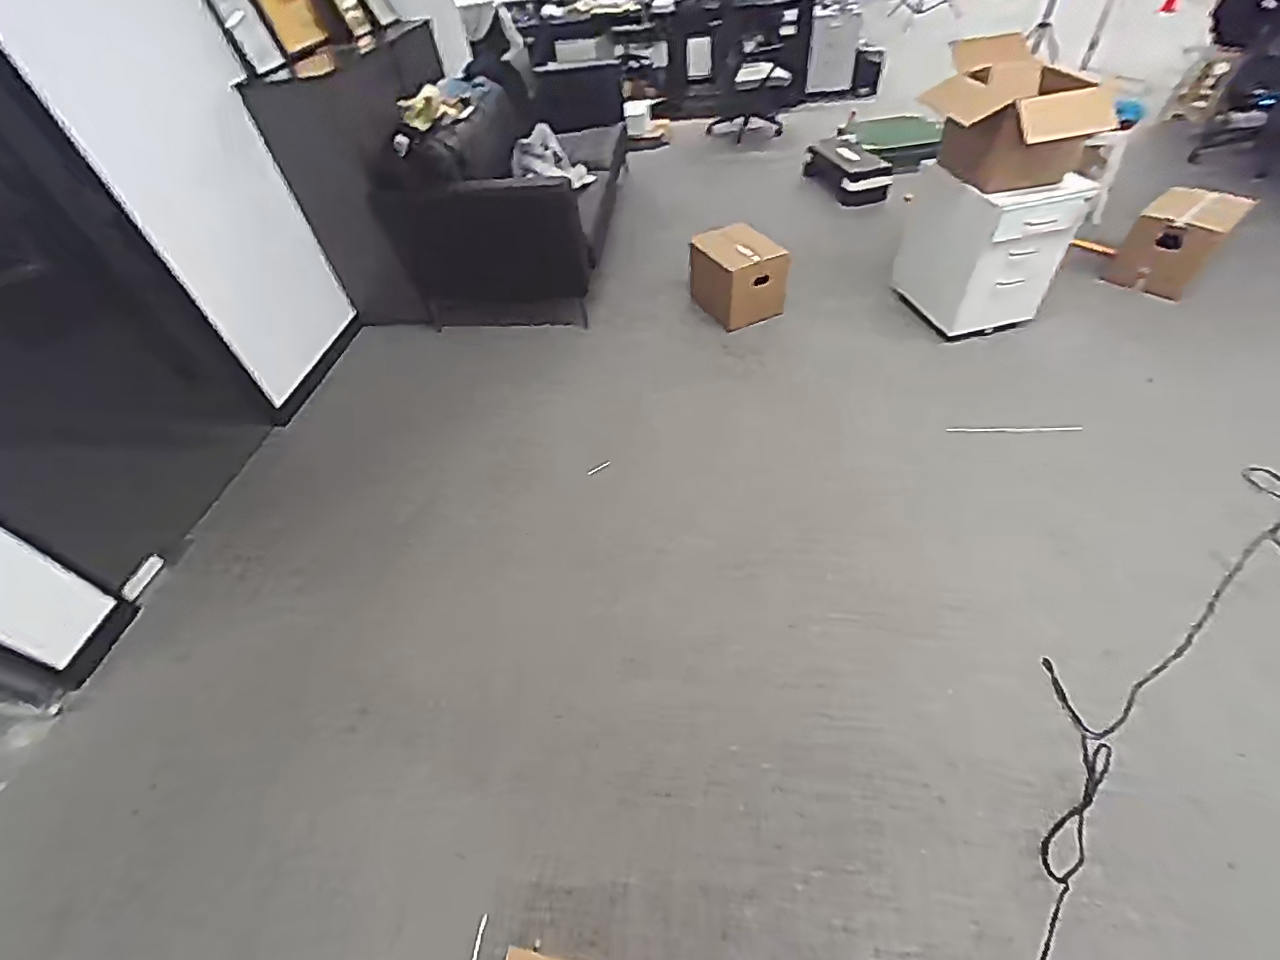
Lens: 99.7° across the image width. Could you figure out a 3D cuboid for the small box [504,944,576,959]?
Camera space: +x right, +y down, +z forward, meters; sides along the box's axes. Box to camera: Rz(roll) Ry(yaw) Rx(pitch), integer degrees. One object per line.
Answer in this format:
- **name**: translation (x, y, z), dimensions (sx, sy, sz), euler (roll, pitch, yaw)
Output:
- **small box**: translation (-0.176, 1.008, 1.020), dimensions (0.179, 0.176, 0.168), euler (5, 49, 11)
